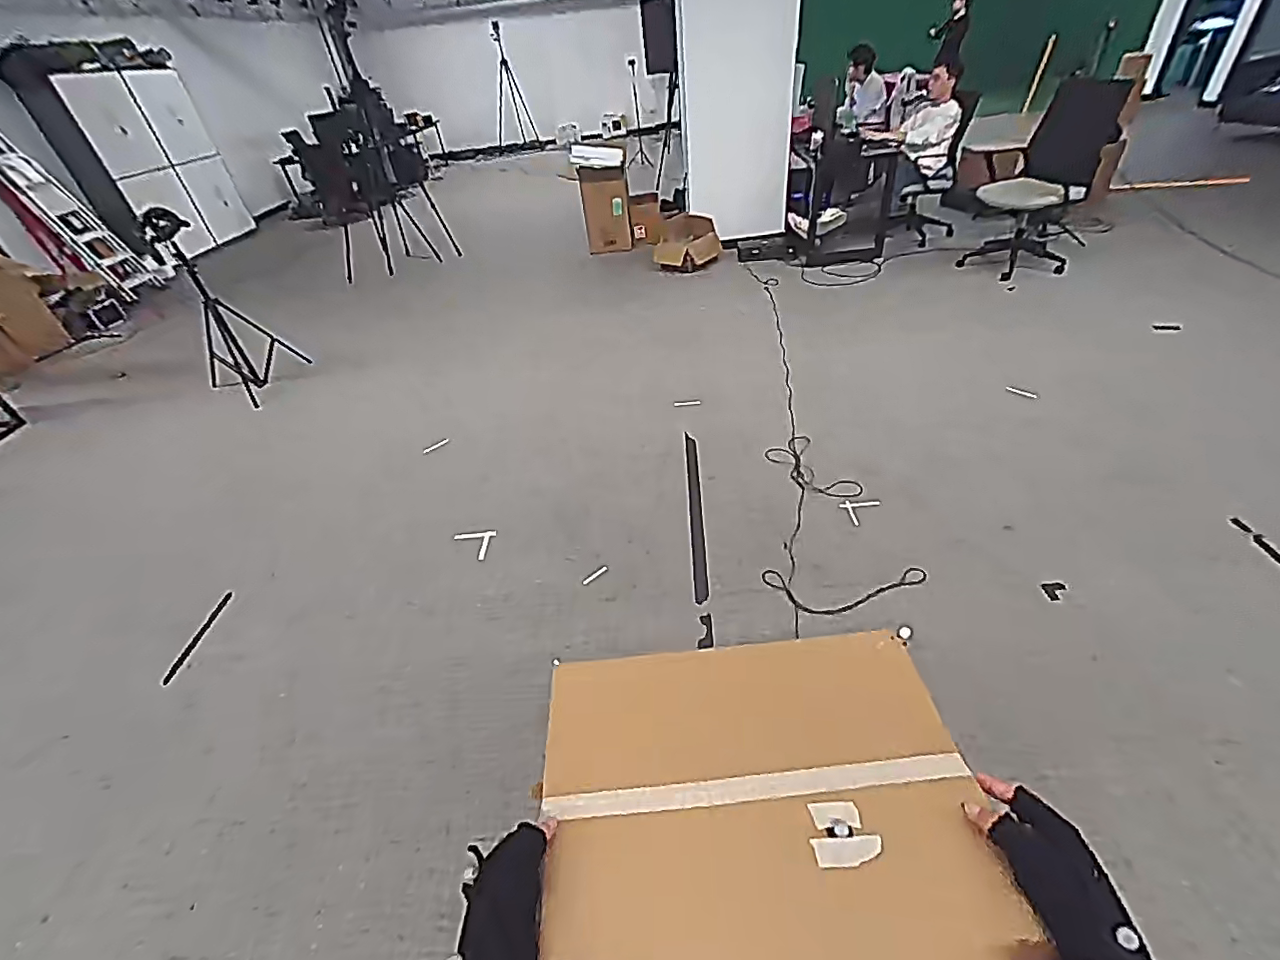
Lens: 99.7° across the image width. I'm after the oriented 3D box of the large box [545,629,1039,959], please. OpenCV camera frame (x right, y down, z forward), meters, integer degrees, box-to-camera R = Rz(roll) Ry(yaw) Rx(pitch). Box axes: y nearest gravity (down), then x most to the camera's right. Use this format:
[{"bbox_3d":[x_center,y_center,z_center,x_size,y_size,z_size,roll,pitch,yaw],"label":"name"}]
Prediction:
[{"bbox_3d":[0.120,0.414,0.630,0.408,0.320,0.320,-6,40,0],"label":"large box"}]
